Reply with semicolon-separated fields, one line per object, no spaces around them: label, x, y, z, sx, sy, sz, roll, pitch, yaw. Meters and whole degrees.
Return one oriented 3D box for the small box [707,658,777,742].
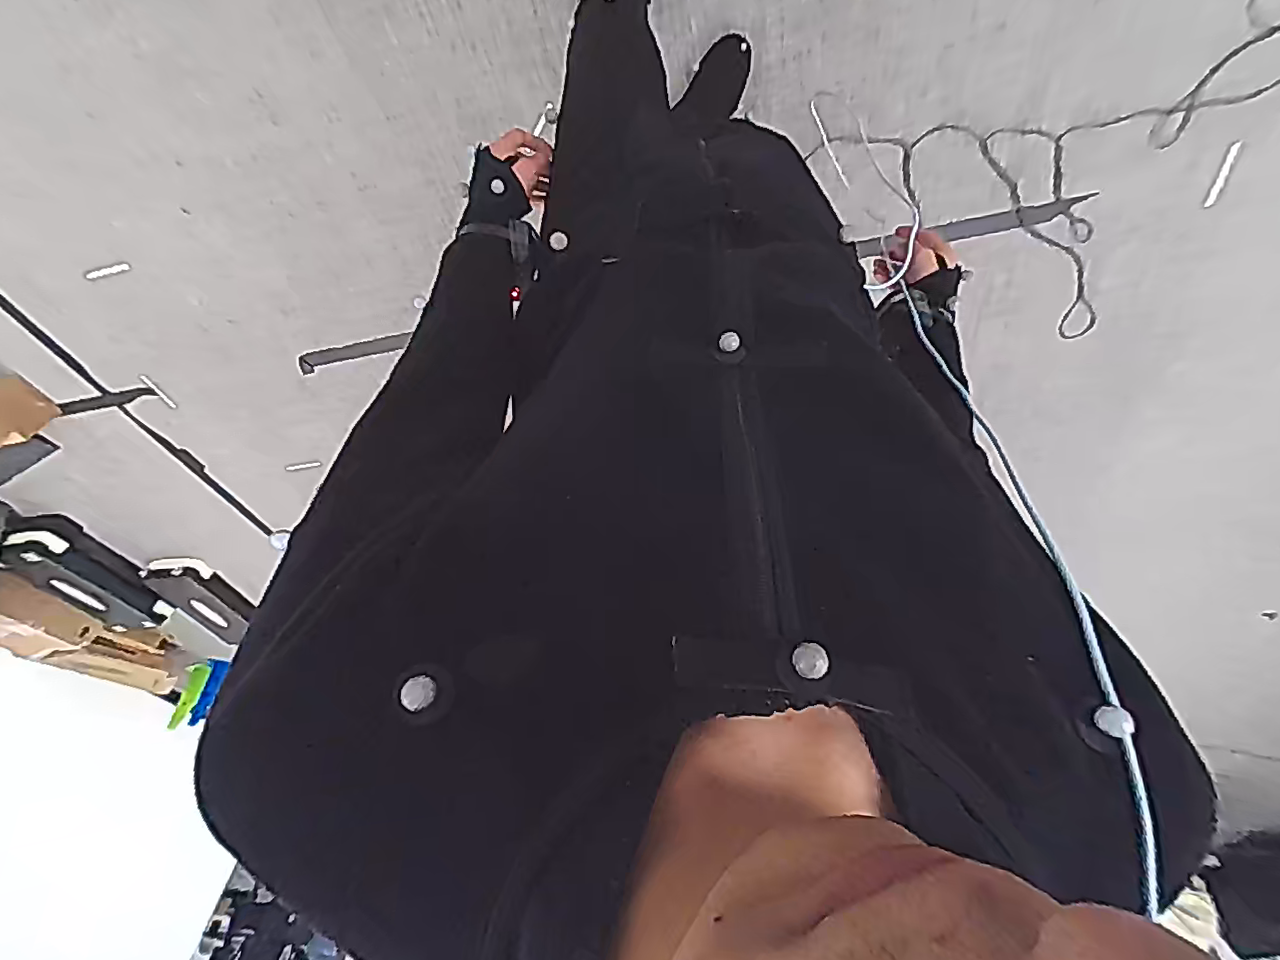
small box;0.283;0.611;1.512;0.168;0.176;0.179;-9;134;12
